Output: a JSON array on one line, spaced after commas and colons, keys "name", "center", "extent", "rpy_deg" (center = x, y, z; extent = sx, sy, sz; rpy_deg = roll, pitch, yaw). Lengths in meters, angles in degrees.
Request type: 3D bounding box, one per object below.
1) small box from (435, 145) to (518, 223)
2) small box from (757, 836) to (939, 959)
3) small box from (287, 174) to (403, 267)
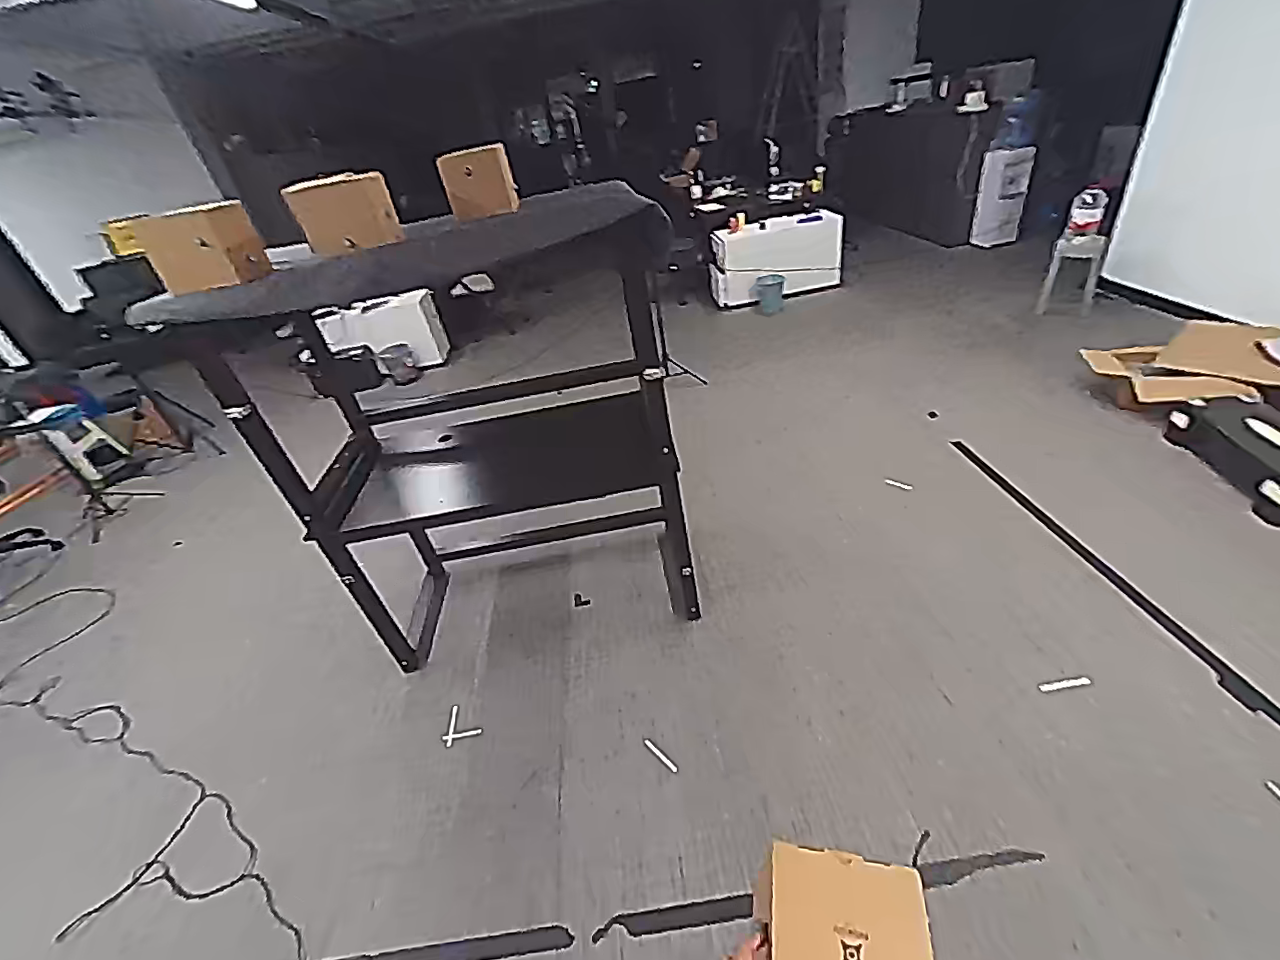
[{"name": "small box", "center": [-0.477, -0.876, 1.602], "extent": [0.179, 0.176, 0.168], "rpy_deg": [-11, 35, 1]}, {"name": "small box", "center": [0.222, 0.538, 0.600], "extent": [0.168, 0.176, 0.179], "rpy_deg": [5, 38, 9]}, {"name": "small box", "center": [-0.718, -0.645, 1.343], "extent": [0.179, 0.176, 0.168], "rpy_deg": [-11, 33, 0]}]
